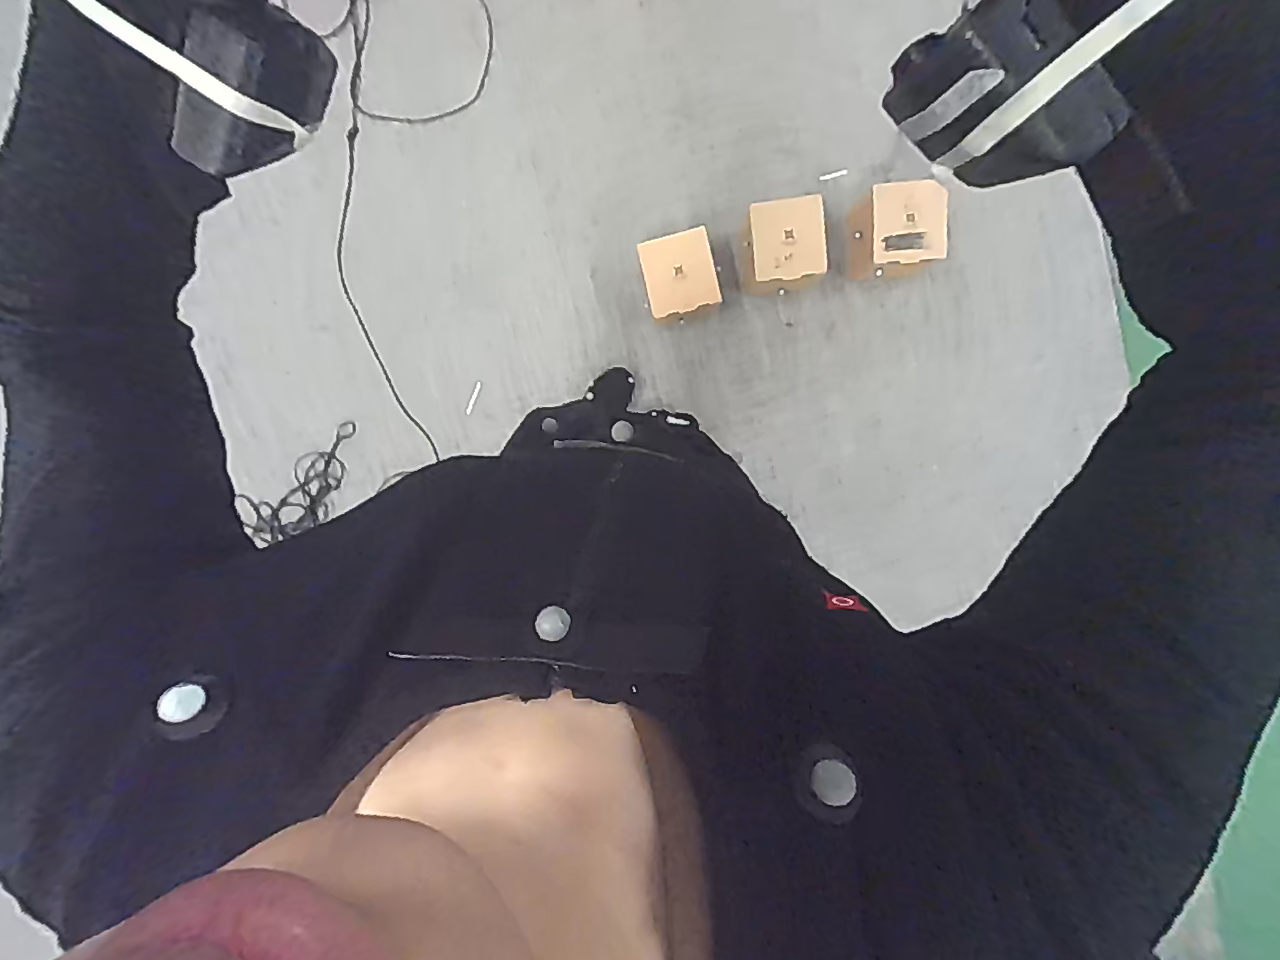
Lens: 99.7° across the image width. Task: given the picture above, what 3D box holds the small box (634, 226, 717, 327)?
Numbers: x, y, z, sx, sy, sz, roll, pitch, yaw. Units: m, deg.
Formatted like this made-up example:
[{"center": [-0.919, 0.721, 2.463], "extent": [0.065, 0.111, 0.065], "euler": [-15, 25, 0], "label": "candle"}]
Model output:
[{"center": [0.084, -0.491, 1.327], "extent": [0.168, 0.176, 0.179], "euler": [-14, 97, 4], "label": "small box"}]

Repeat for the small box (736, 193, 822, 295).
[{"center": [0.330, -0.561, 1.307], "extent": [0.168, 0.176, 0.179], "euler": [-6, 98, 4], "label": "small box"}]
